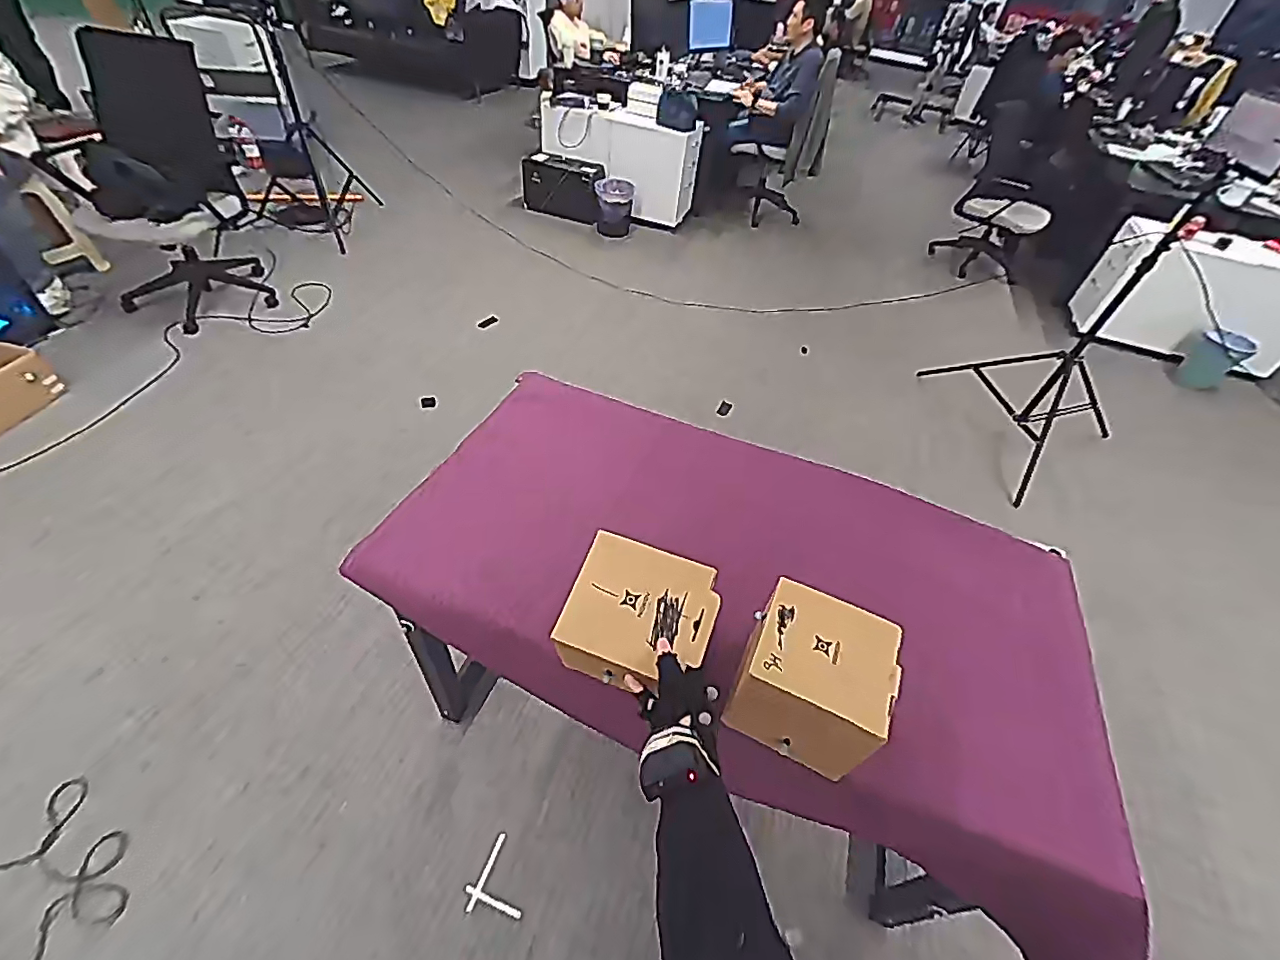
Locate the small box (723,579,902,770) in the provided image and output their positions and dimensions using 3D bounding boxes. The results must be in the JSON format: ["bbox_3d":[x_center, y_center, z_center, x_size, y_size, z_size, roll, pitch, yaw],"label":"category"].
[{"bbox_3d":[0.237,0.278,0.762,0.179,0.176,0.168,23,47,13],"label":"small box"}]

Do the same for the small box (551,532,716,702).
[{"bbox_3d":[-0.004,0.204,0.780,0.179,0.176,0.168,17,60,11],"label":"small box"}]
